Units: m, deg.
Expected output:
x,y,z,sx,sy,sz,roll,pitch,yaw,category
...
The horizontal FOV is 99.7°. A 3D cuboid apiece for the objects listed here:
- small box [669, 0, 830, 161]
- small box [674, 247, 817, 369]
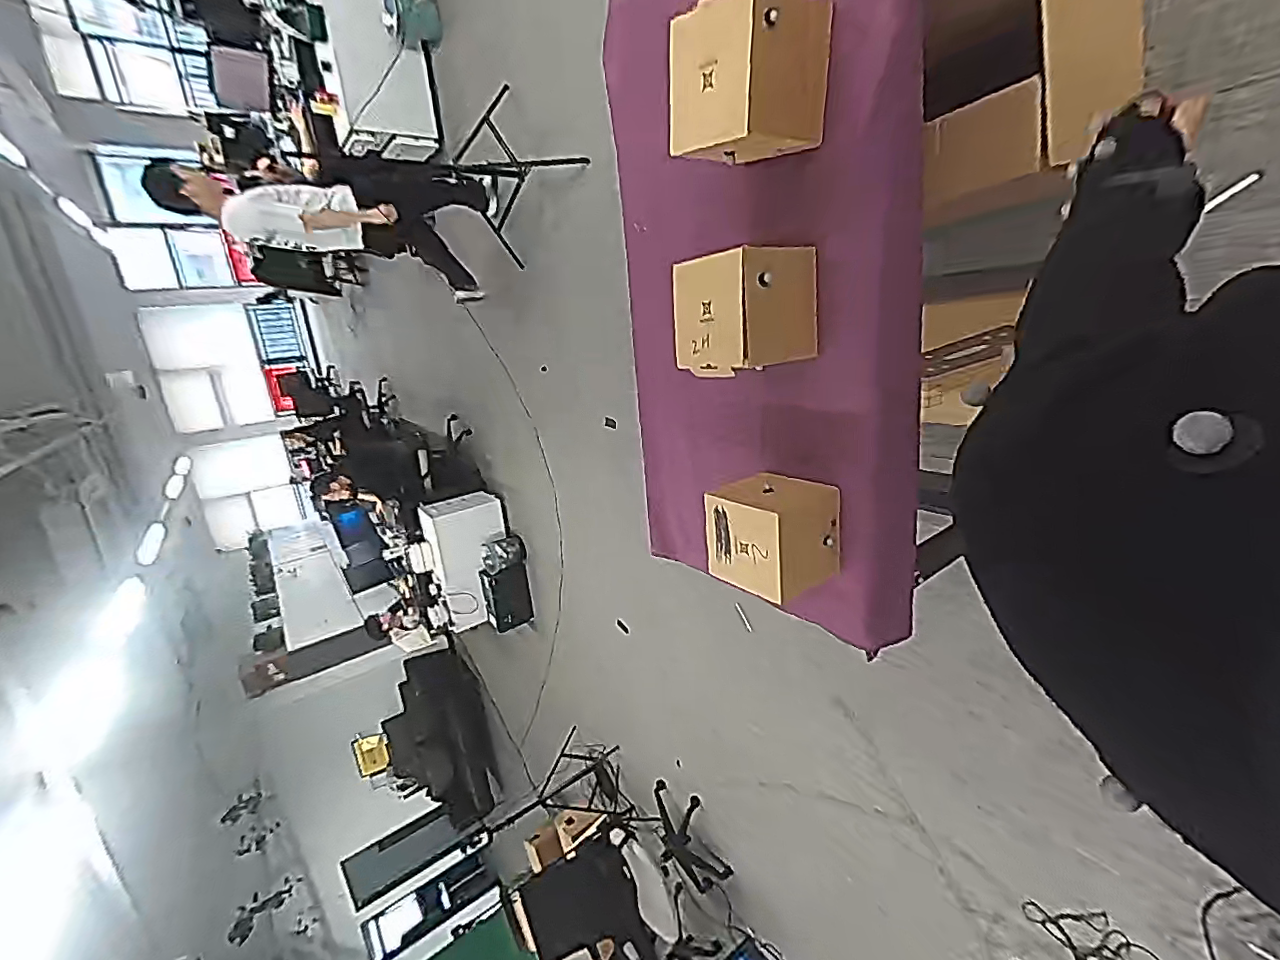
x,y,z,sx,sy,sz,roll,pitch,yaw,category
0.159,-0.583,0.798,0.168,0.176,0.179,25,123,49,small box
0.178,-0.282,0.902,0.168,0.176,0.179,17,118,55,small box
